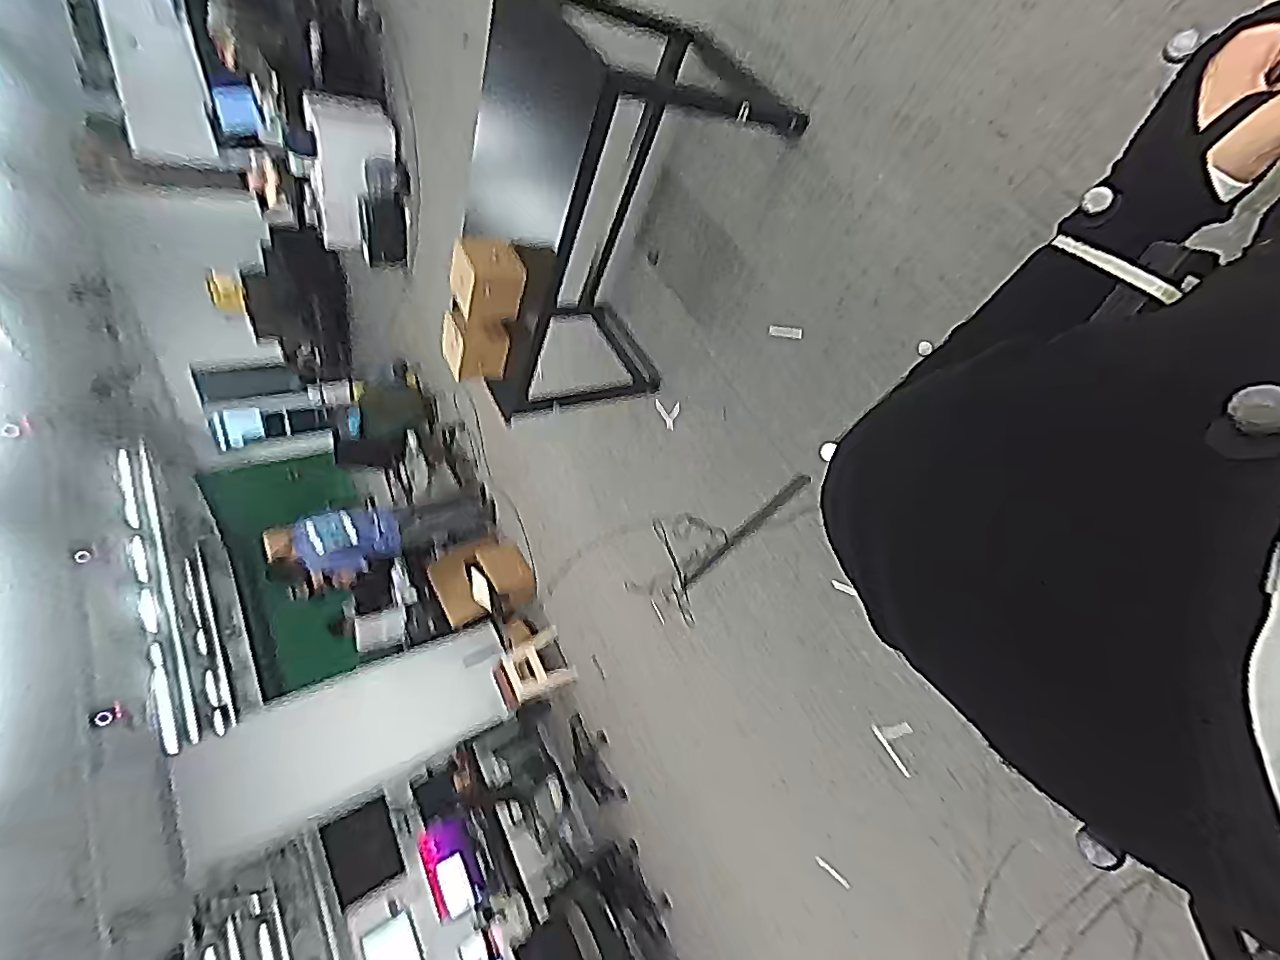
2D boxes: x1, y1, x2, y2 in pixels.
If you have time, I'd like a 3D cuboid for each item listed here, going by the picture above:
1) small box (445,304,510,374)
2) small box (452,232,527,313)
[{"bbox_3d":[-0.571,-0.500,1.901,0.168,0.176,0.179,58,143,23],"label":"small box"},{"bbox_3d":[-0.472,-0.651,1.696,0.168,0.176,0.179,61,144,21],"label":"small box"}]
